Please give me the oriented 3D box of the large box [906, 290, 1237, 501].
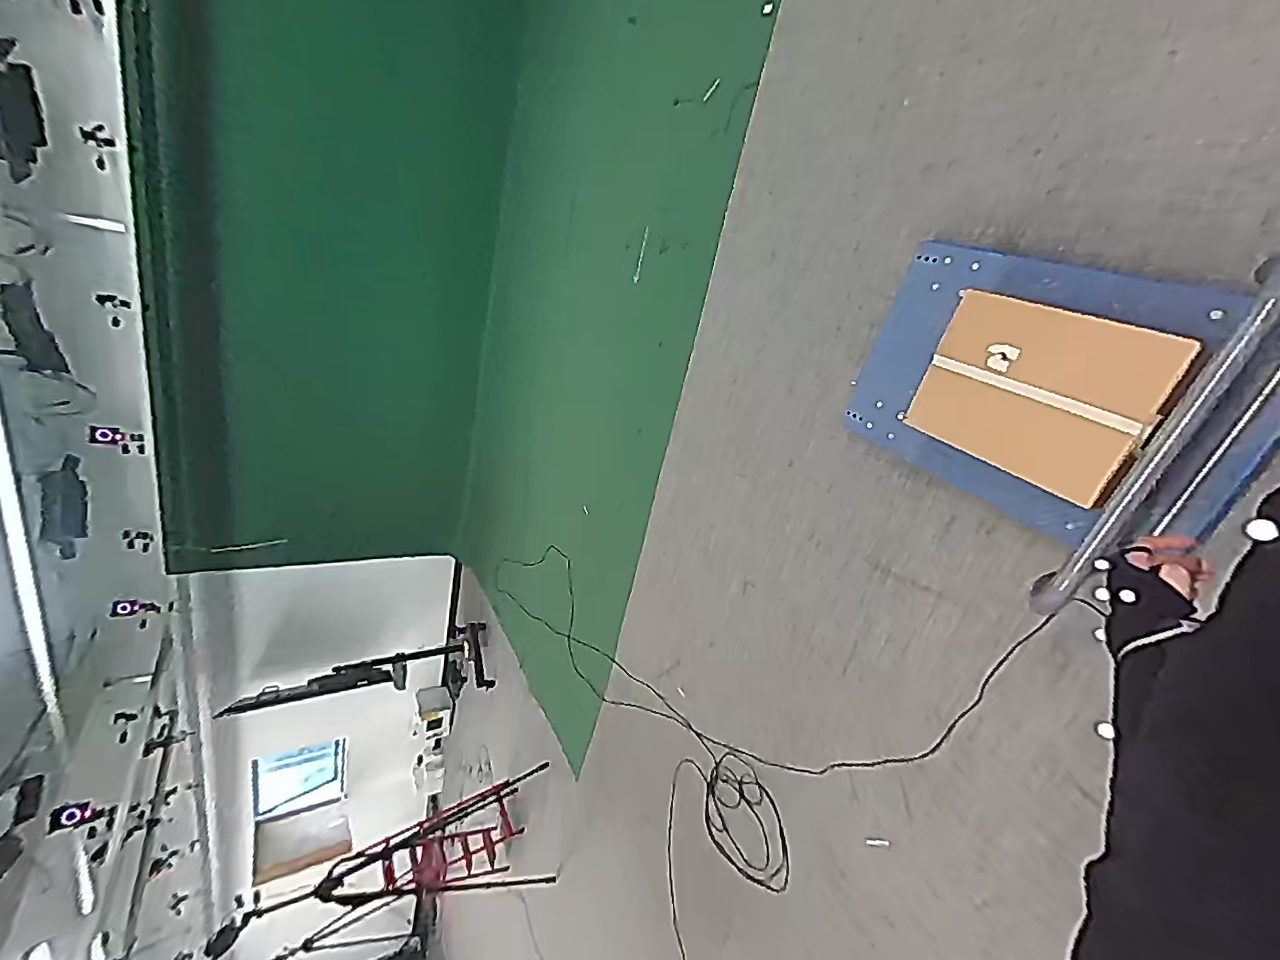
[{"bbox_3d":[0.885,-0.183,1.150,0.408,0.320,0.320,44,125,47],"label":"large box"}]
